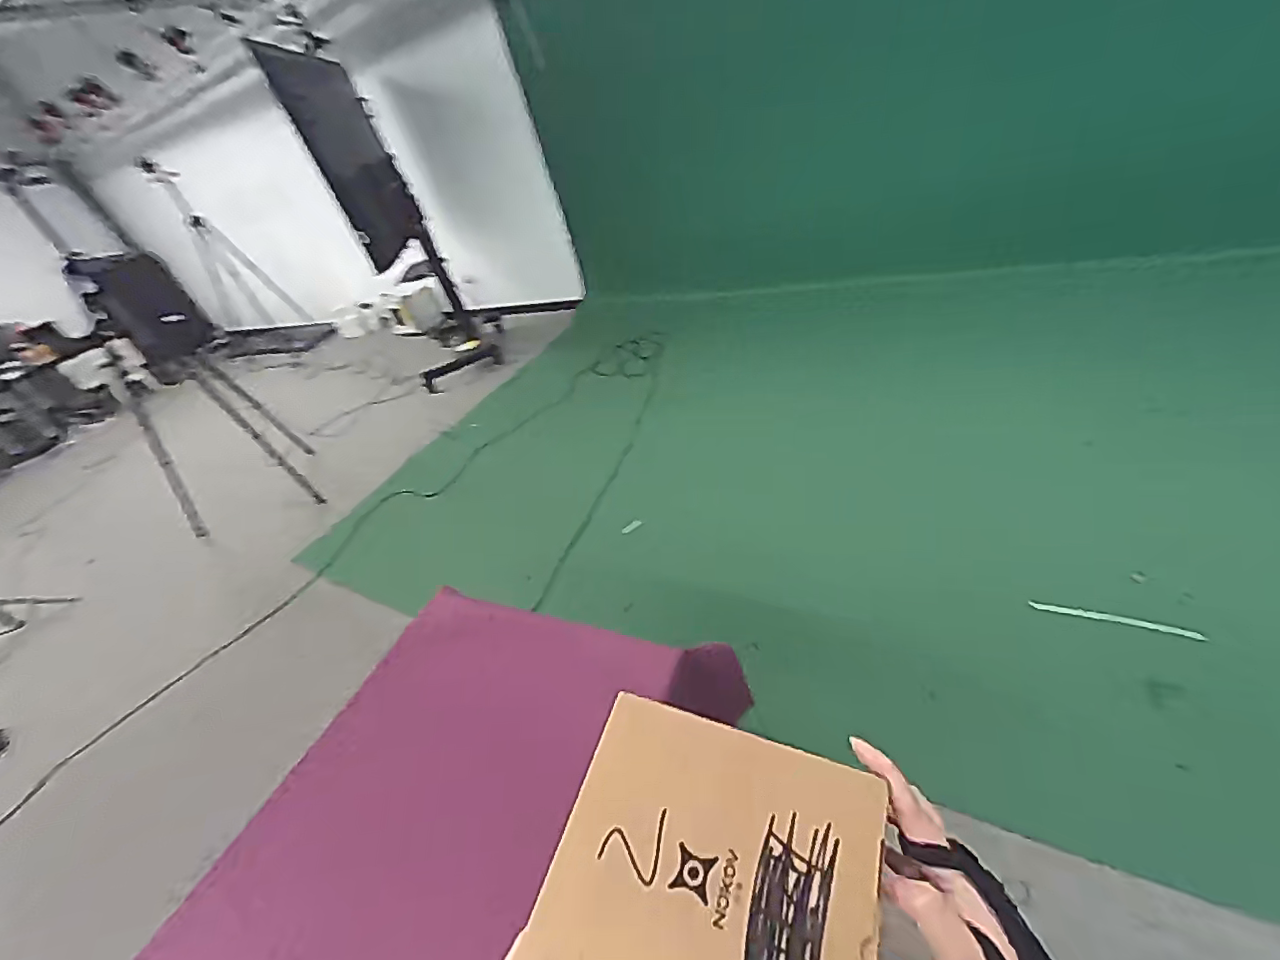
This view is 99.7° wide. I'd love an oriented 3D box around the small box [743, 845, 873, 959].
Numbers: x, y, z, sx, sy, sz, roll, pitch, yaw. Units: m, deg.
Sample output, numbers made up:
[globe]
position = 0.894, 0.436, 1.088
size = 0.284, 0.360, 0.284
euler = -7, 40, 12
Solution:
[small box]
position = 0.307, 0.813, 0.975
size = 0.179, 0.176, 0.168
euler = 12, 45, 33
